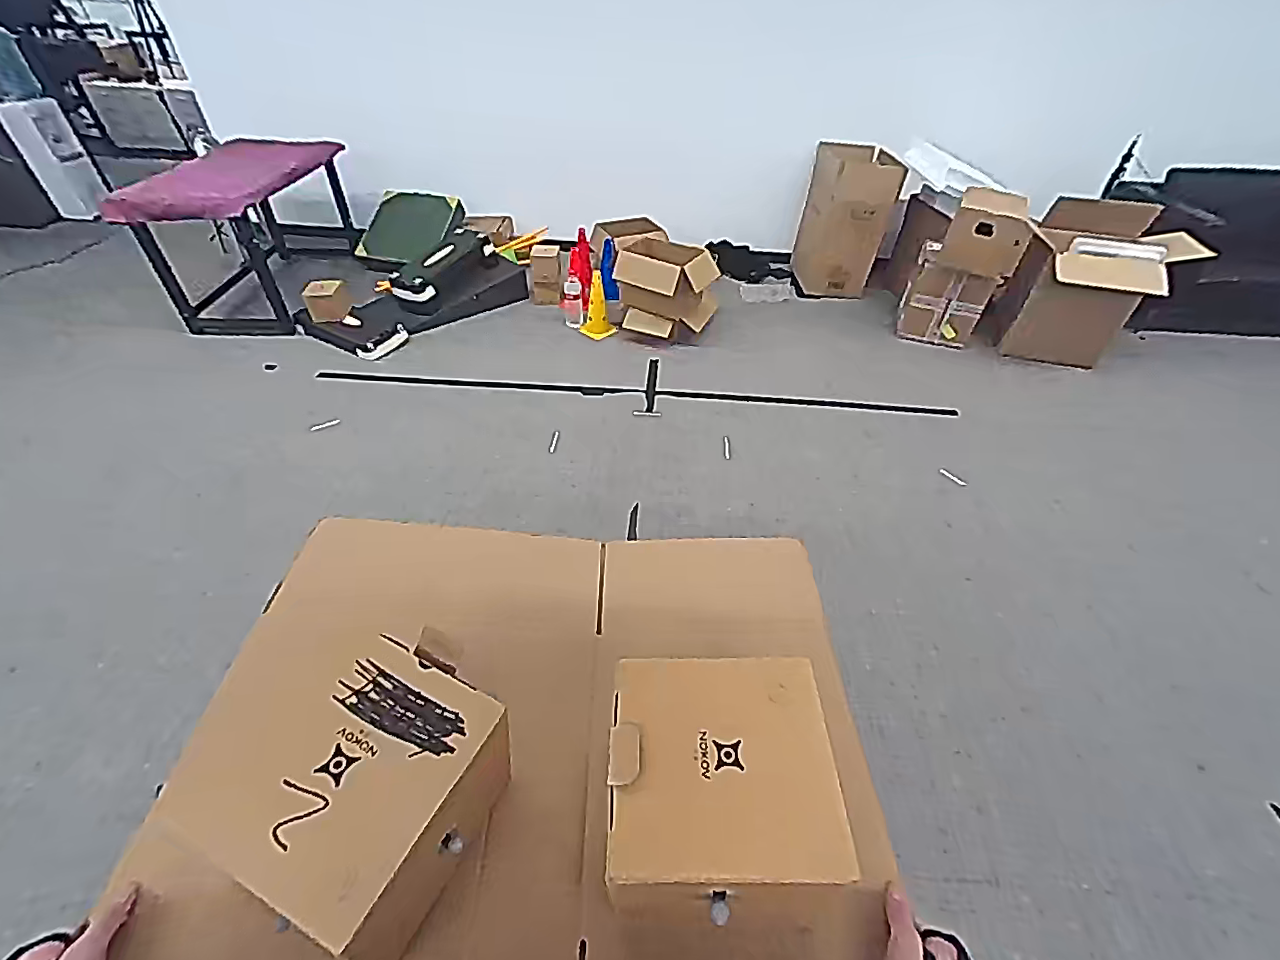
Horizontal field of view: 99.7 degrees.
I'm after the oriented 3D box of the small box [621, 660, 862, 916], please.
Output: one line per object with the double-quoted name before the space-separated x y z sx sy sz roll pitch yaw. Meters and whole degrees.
"small box" 0.076 0.282 0.497 0.179 0.176 0.168 -2 43 2
